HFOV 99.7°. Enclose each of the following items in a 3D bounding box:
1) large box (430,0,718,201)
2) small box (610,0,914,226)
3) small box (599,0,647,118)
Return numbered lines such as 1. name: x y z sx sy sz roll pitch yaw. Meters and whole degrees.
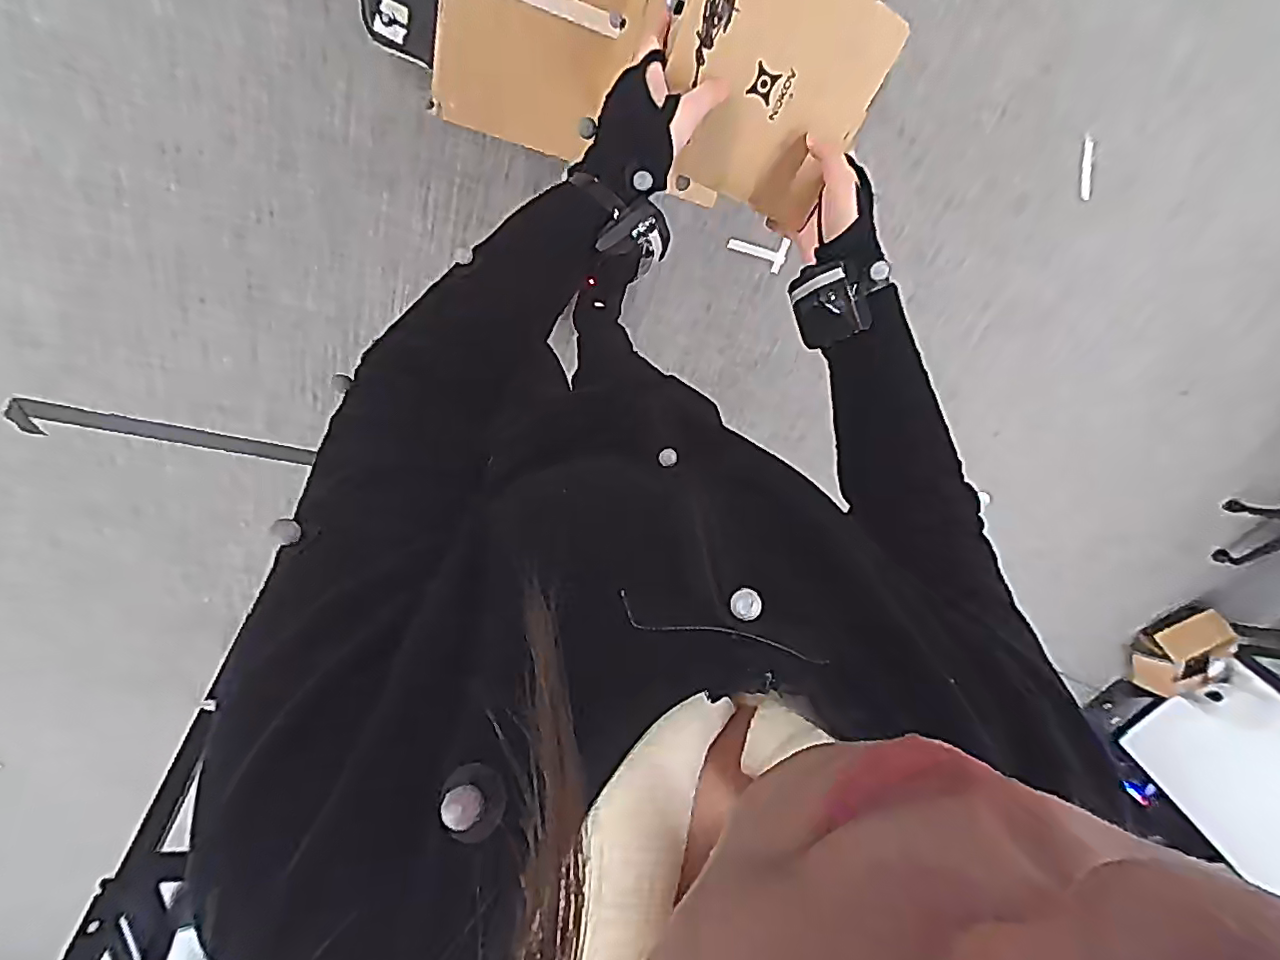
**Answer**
1. large box: -0.059 -0.645 0.785 0.408 0.320 0.320 9 122 -17
2. small box: 0.091 -0.363 0.489 0.179 0.176 0.168 13 122 -24
3. small box: 0.064 -0.478 0.624 0.179 0.176 0.168 12 122 -19
